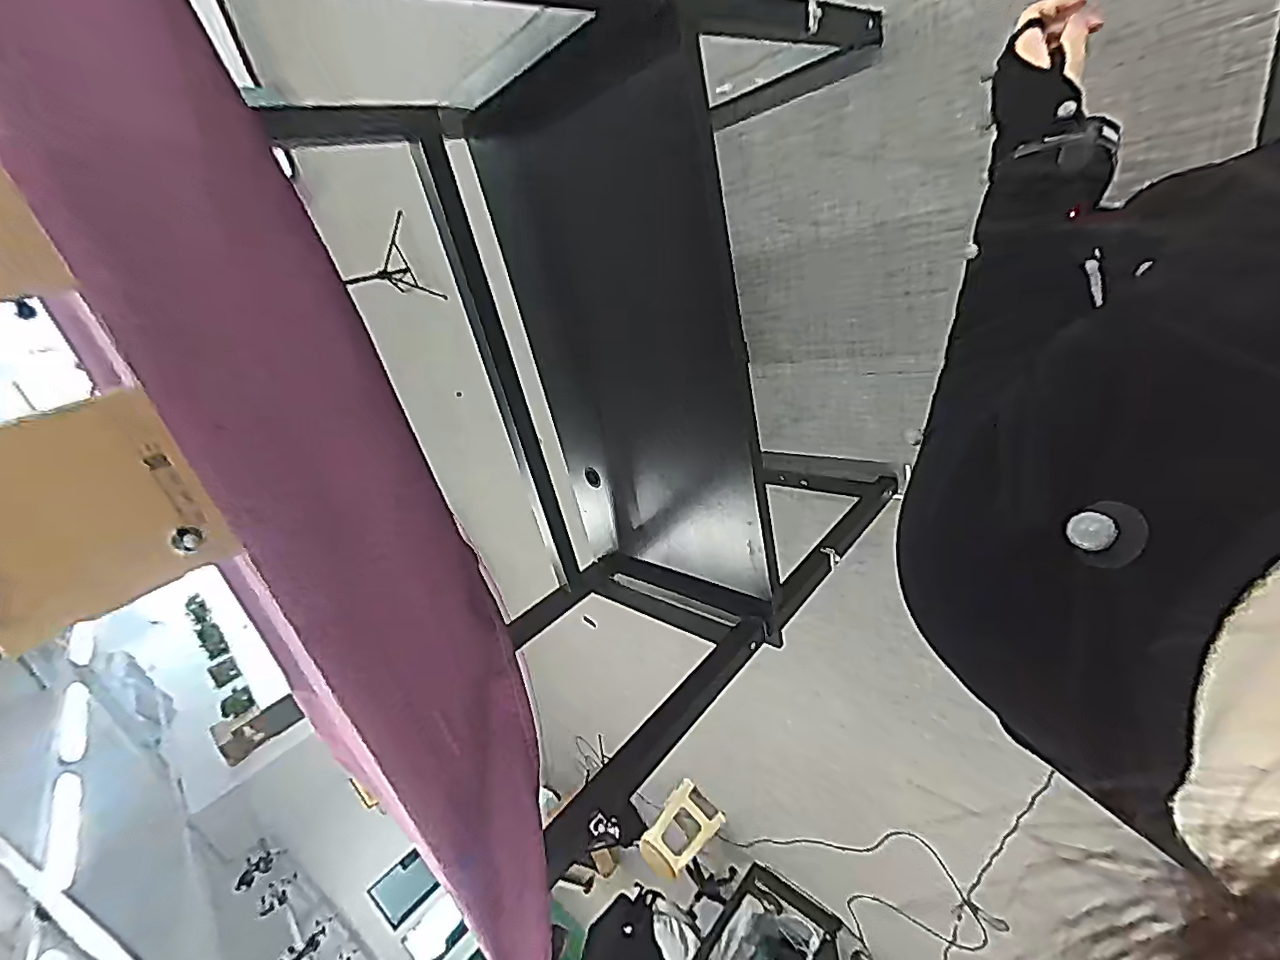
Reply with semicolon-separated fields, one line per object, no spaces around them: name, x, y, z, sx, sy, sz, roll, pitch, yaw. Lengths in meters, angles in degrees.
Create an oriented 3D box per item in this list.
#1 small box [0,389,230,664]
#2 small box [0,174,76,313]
small box;-0.511;0.023;0.488;0.179;0.176;0.168;12;124;45
small box;-0.551;-0.196;0.372;0.168;0.176;0.179;17;129;42
